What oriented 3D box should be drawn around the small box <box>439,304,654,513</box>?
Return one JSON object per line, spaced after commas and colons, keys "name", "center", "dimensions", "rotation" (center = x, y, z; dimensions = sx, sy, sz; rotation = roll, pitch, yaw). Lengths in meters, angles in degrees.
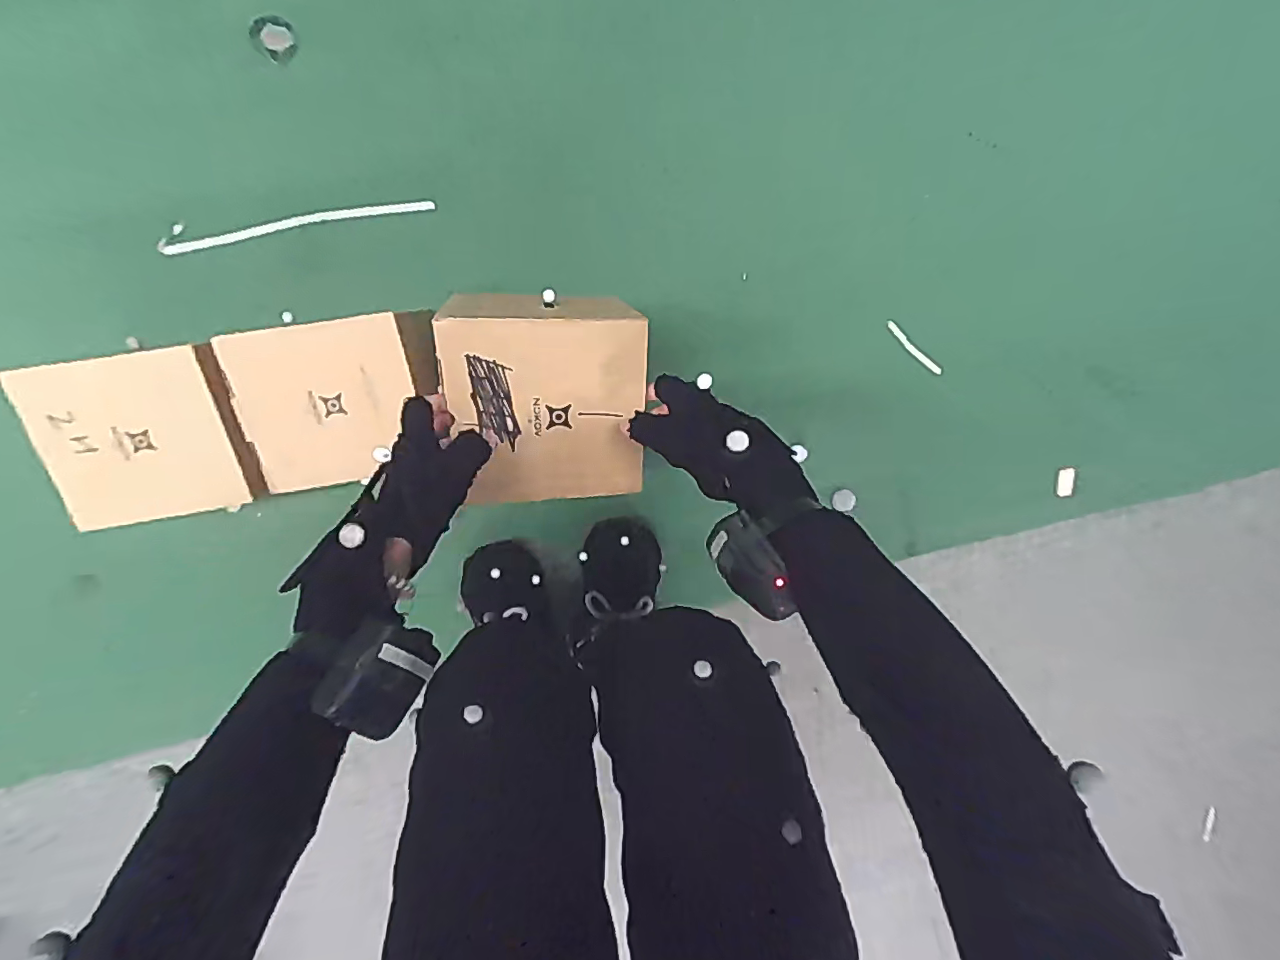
{"name": "small box", "center": [-0.092, -0.081, 0.541], "dimensions": [0.179, 0.176, 0.168], "rotation": [-4, 114, -12]}
